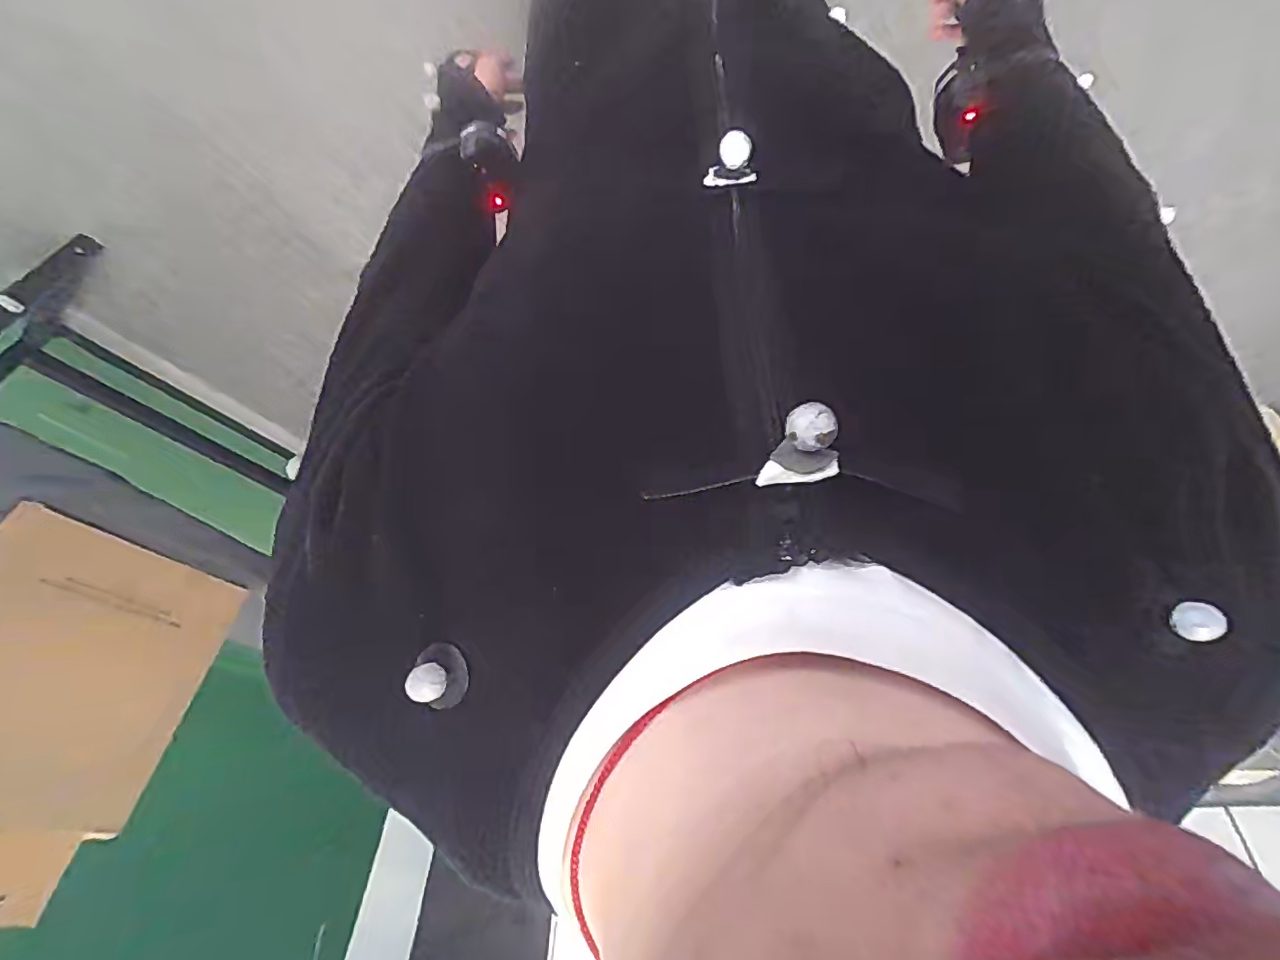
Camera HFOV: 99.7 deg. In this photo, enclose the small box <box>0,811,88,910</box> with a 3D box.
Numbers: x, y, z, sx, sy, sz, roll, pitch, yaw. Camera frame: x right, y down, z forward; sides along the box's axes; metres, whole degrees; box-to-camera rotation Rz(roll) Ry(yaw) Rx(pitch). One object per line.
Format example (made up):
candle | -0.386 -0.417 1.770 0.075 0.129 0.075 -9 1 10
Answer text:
small box | -1.394 0.837 1.191 0.168 0.176 0.179 -21 135 25
